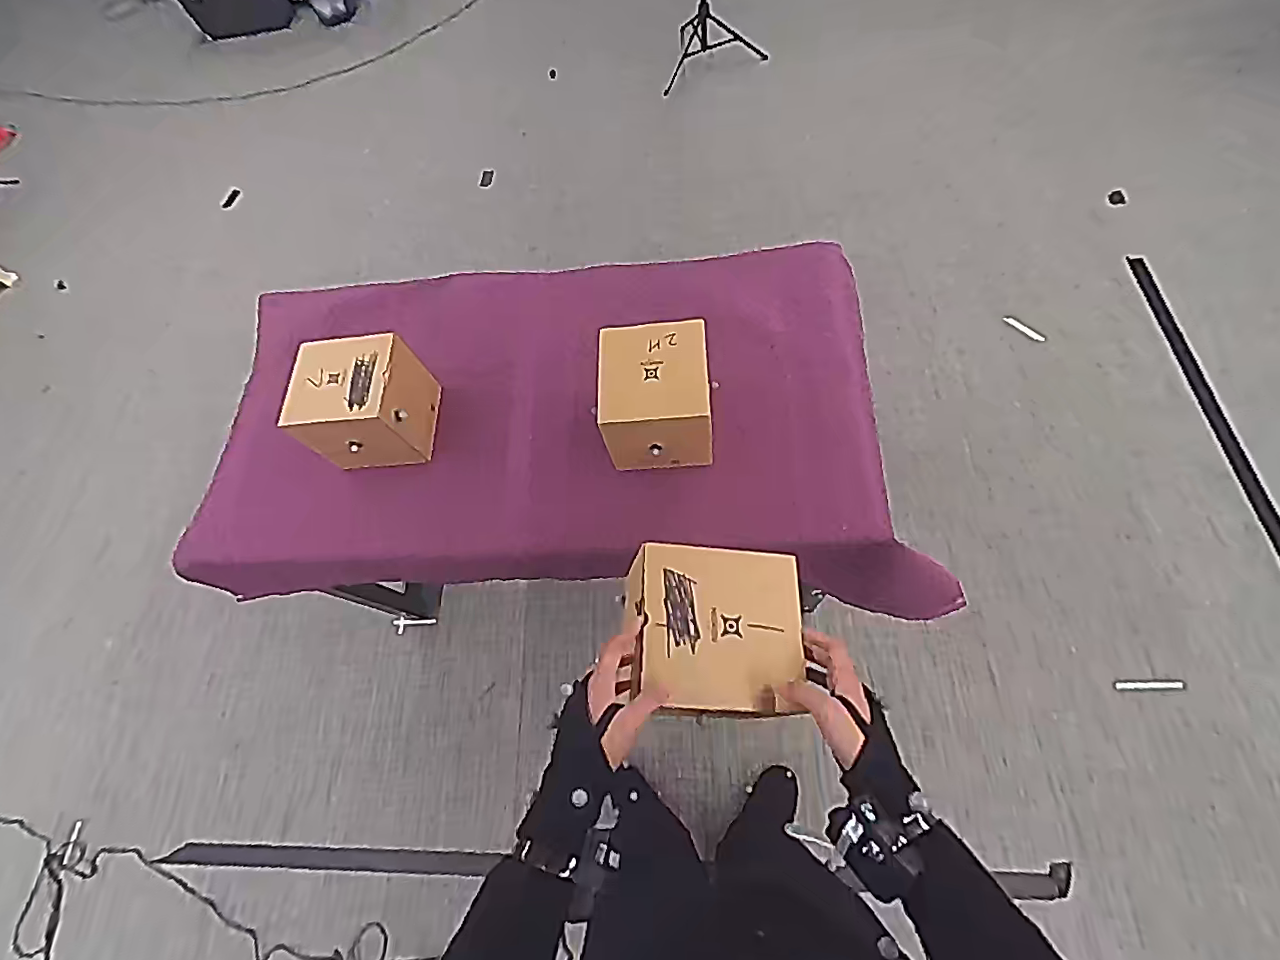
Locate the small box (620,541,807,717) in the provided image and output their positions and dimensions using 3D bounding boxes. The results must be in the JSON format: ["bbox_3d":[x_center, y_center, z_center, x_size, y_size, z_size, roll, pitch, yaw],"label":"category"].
[{"bbox_3d":[0.073,0.182,0.635,0.179,0.176,0.168,6,64,-7],"label":"small box"}]

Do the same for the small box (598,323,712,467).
[{"bbox_3d":[0.031,-0.129,0.885,0.168,0.176,0.179,-3,66,7],"label":"small box"}]
